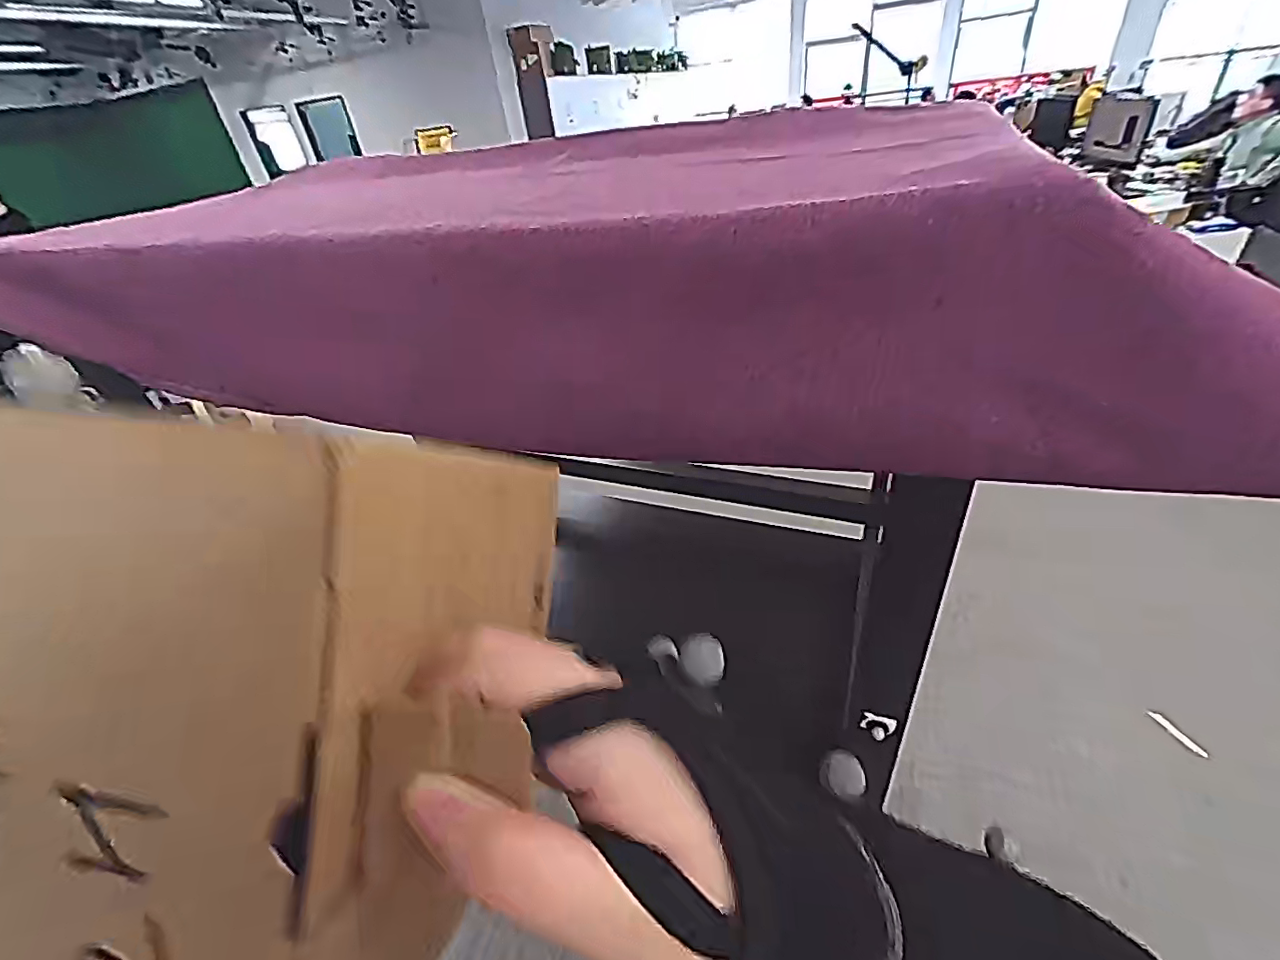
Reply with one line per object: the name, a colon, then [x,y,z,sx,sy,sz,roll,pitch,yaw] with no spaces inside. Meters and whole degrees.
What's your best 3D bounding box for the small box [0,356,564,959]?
small box: [-0.140,0.057,0.190,0.179,0.168,0.176,6,0,7]
